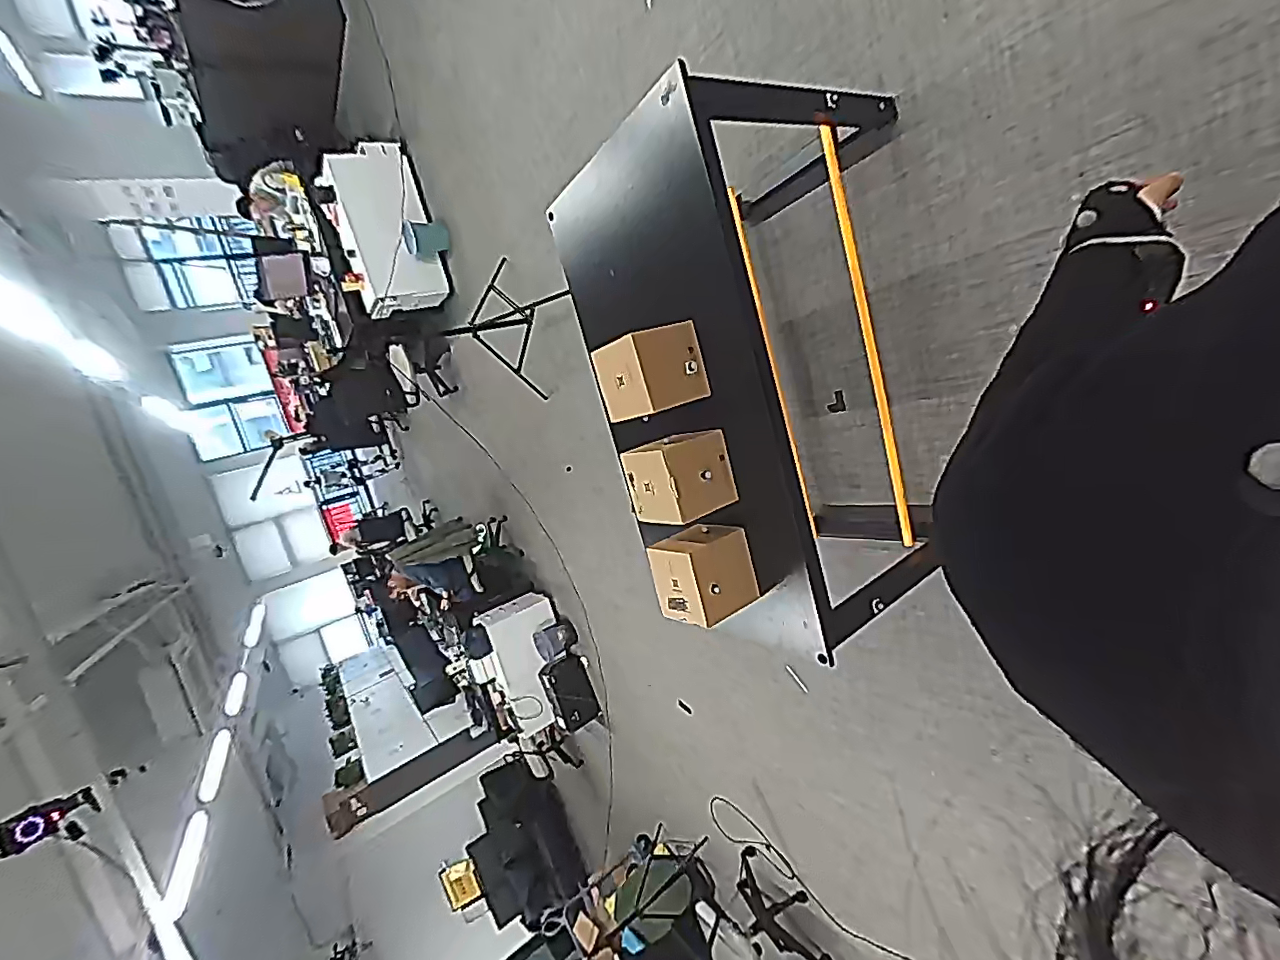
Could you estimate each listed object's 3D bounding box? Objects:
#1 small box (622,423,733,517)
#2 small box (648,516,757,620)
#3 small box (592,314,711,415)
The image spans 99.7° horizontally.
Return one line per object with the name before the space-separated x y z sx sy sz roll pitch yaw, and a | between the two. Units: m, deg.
small box | 0.090 -0.024 1.220 0.179 0.176 0.168 0 108 57
small box | 0.149 0.197 1.261 0.168 0.176 0.179 -2 106 57
small box | 0.025 -0.250 1.184 0.179 0.176 0.168 -4 106 57
